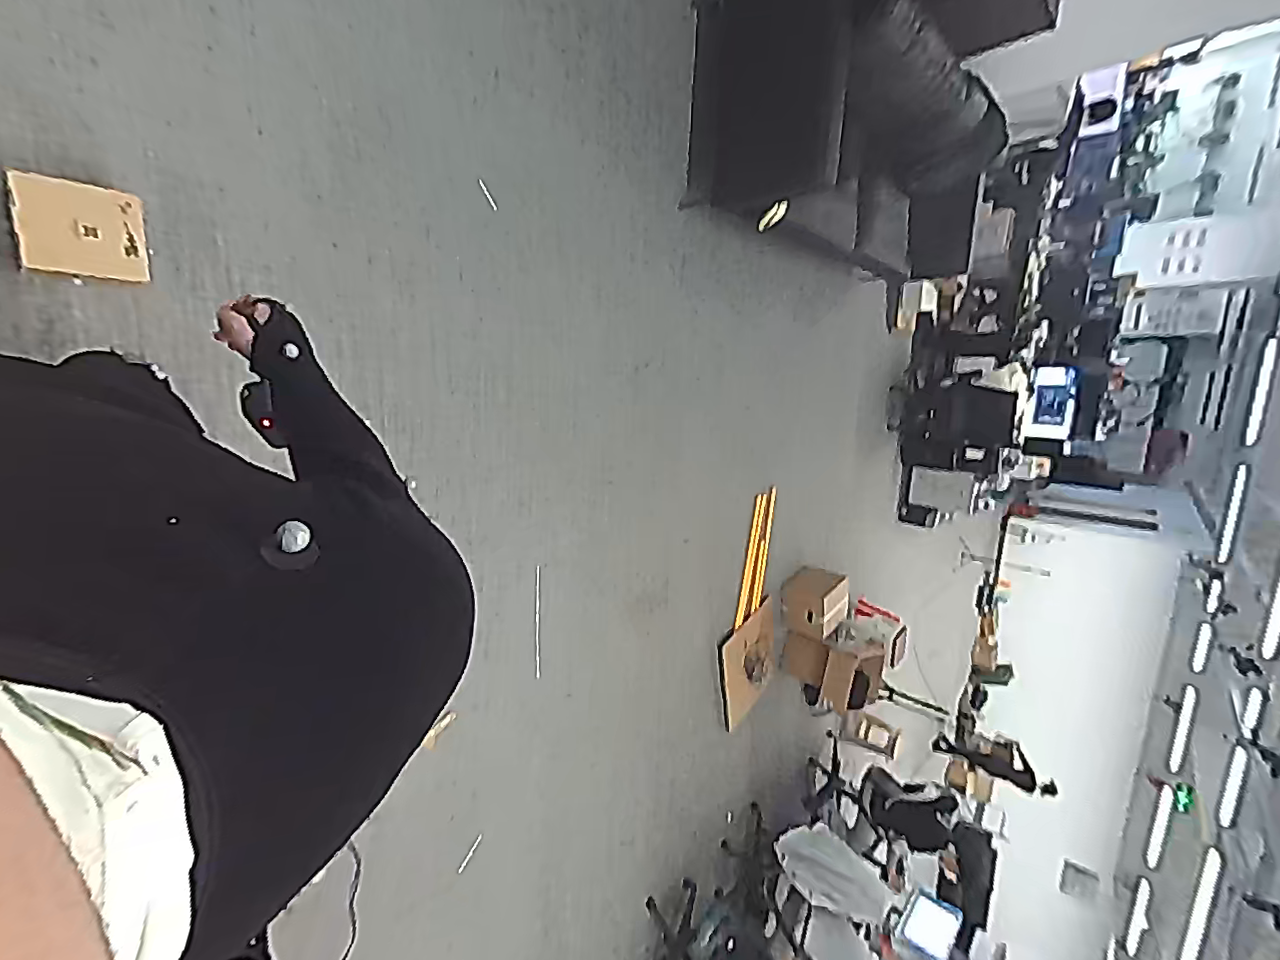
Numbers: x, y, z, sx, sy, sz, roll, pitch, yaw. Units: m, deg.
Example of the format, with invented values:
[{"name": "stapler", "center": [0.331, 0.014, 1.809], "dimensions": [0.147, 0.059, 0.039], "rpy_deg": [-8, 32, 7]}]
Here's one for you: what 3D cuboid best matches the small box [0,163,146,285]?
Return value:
[{"name": "small box", "center": [-1.093, -0.482, 1.050], "dimensions": [0.179, 0.176, 0.168], "rpy_deg": [-8, 105, -47]}]
